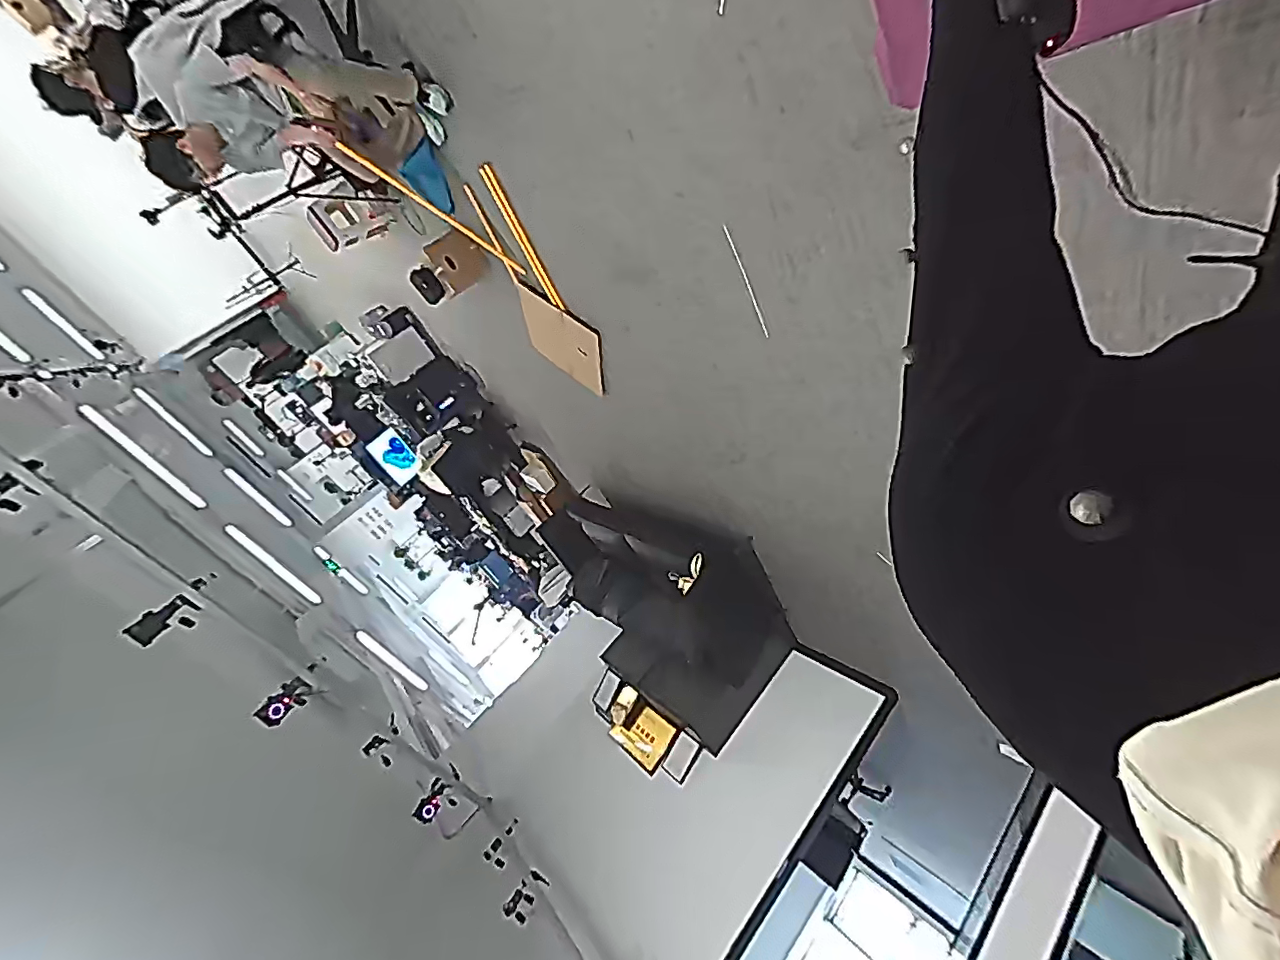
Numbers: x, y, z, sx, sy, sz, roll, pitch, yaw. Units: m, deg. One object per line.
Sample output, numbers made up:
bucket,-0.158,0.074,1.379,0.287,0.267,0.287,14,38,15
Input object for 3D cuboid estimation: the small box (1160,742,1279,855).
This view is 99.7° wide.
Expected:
small box,1.526,0.833,1.426,0.168,0.176,0.179,25,153,45
